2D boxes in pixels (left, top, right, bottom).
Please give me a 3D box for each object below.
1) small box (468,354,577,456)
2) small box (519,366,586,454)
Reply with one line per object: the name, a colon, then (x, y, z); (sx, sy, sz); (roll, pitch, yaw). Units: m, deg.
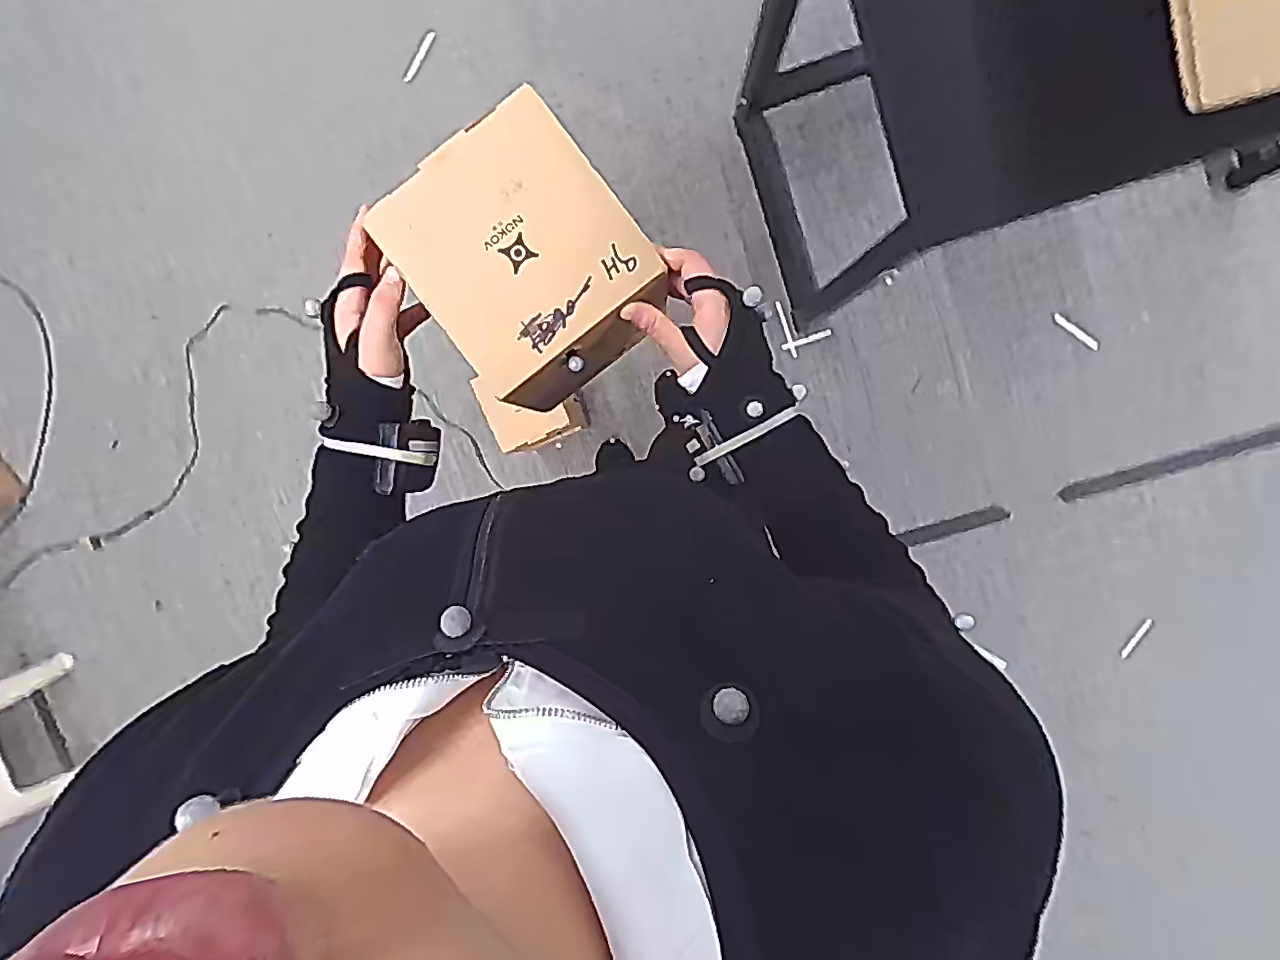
small box: (-0.259, -0.168, 1.241); (0.168, 0.176, 0.179); (-25, 93, 3)
small box: (-0.251, -0.177, 1.403); (0.168, 0.176, 0.179); (-21, 95, 4)
